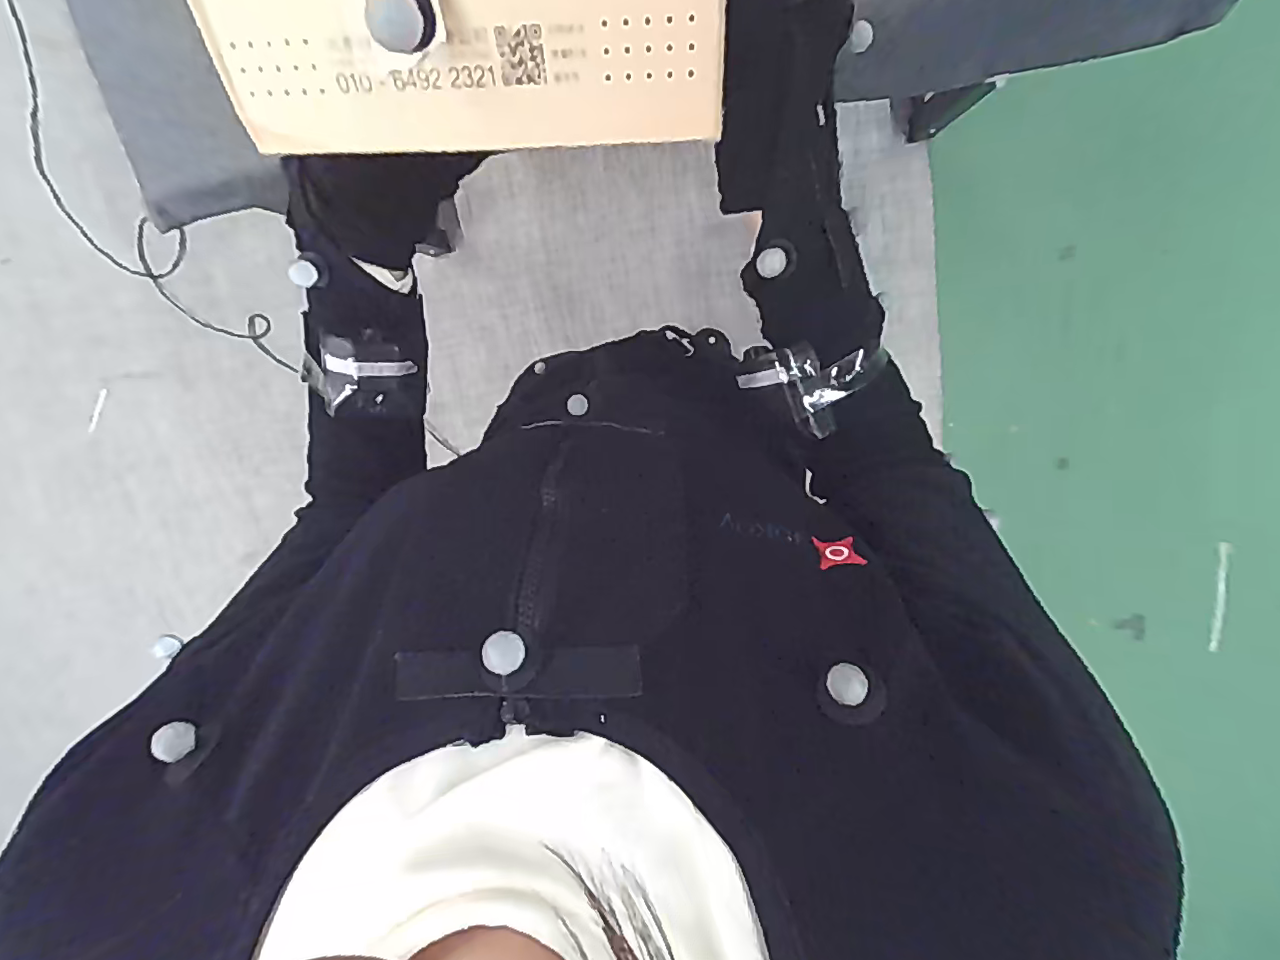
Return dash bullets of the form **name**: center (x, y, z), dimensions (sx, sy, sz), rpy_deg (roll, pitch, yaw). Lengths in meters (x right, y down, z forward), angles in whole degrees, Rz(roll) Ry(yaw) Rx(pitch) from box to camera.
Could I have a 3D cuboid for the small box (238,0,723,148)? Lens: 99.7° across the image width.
- **small box**: center (-0.050, -0.236, 0.202), dimensions (0.168, 0.179, 0.176), rpy_deg (1, 131, 6)
